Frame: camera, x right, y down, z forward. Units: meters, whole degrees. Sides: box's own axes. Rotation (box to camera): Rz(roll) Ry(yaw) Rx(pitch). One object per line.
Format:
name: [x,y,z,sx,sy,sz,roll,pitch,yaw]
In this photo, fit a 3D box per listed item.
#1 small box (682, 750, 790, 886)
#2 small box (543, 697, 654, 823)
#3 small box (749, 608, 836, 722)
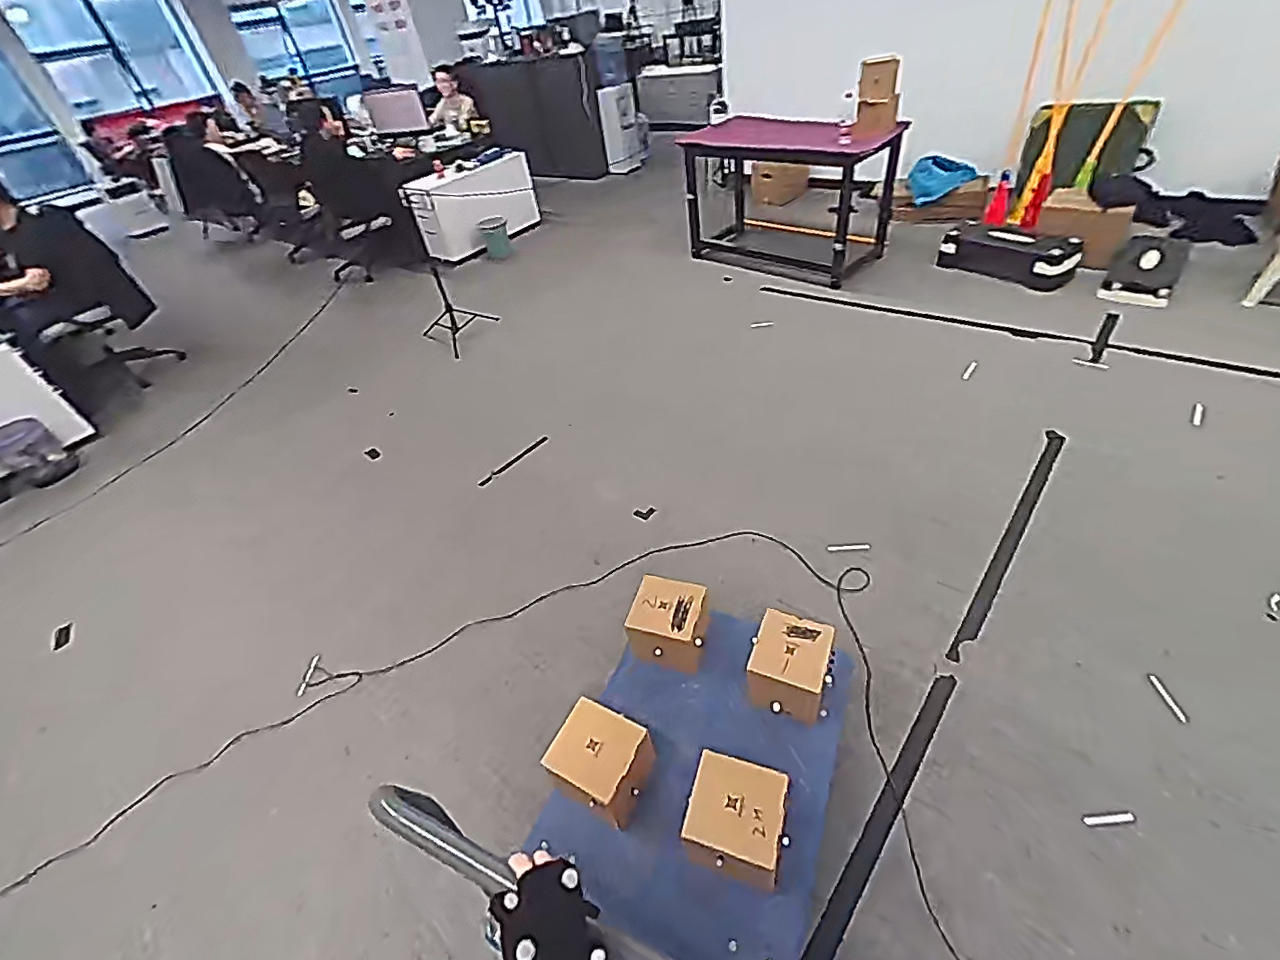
small box: [0.197,0.679,1.084,0.179,0.176,0.168,8,45,20]
small box: [-0.085,0.624,1.202,0.179,0.176,0.168,16,48,25]
small box: [0.364,0.446,1.304,0.168,0.176,0.179,12,48,24]
